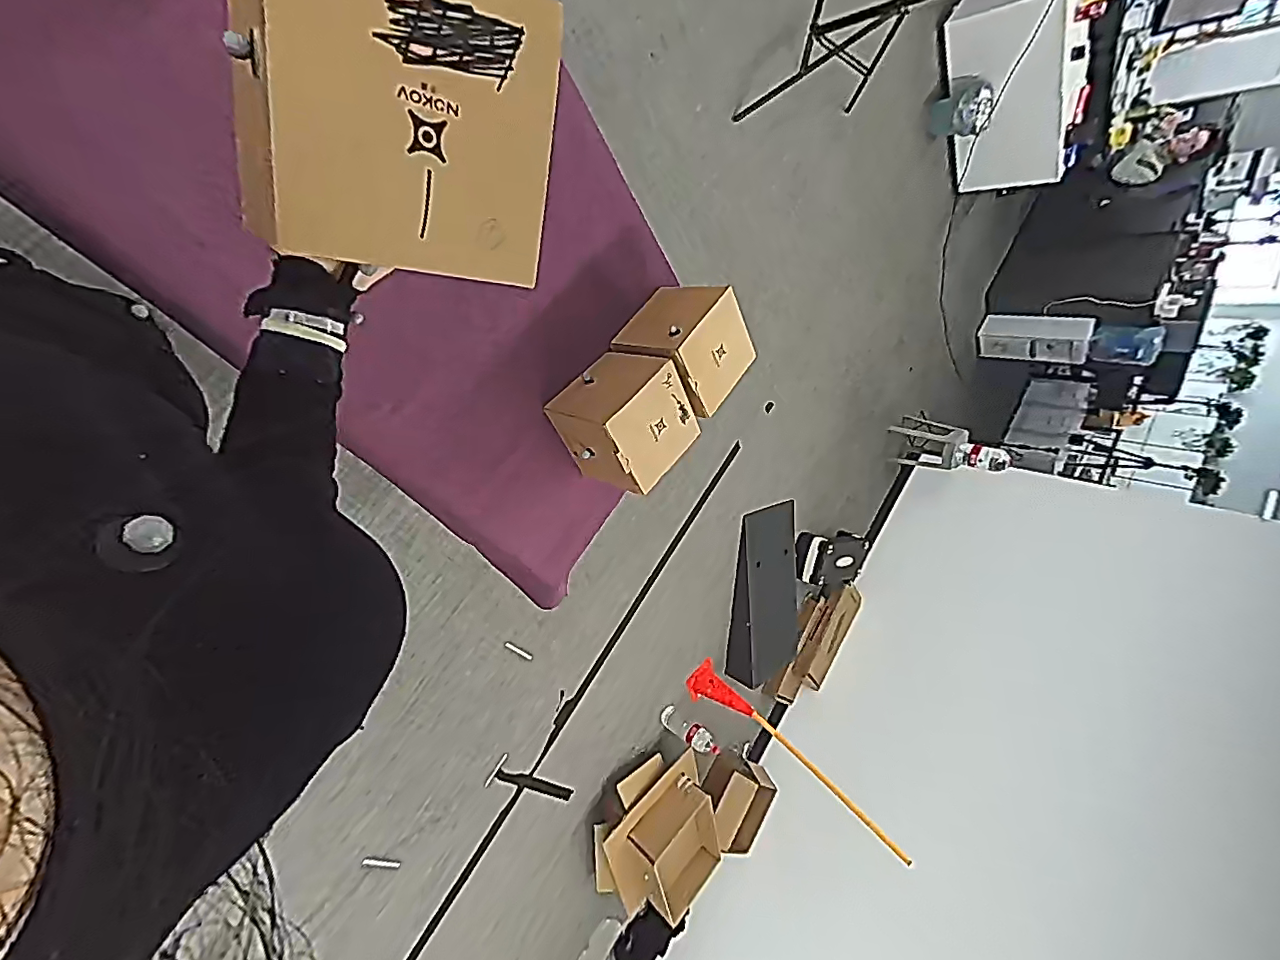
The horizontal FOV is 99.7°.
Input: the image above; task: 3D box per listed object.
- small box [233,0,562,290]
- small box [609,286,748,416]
[{"bbox_3d":[-0.178,-0.250,0.388,0.168,0.176,0.179,-7,119,-40],"label":"small box"},{"bbox_3d":[0.074,-0.251,1.030,0.179,0.176,0.168,-53,135,-20],"label":"small box"}]
